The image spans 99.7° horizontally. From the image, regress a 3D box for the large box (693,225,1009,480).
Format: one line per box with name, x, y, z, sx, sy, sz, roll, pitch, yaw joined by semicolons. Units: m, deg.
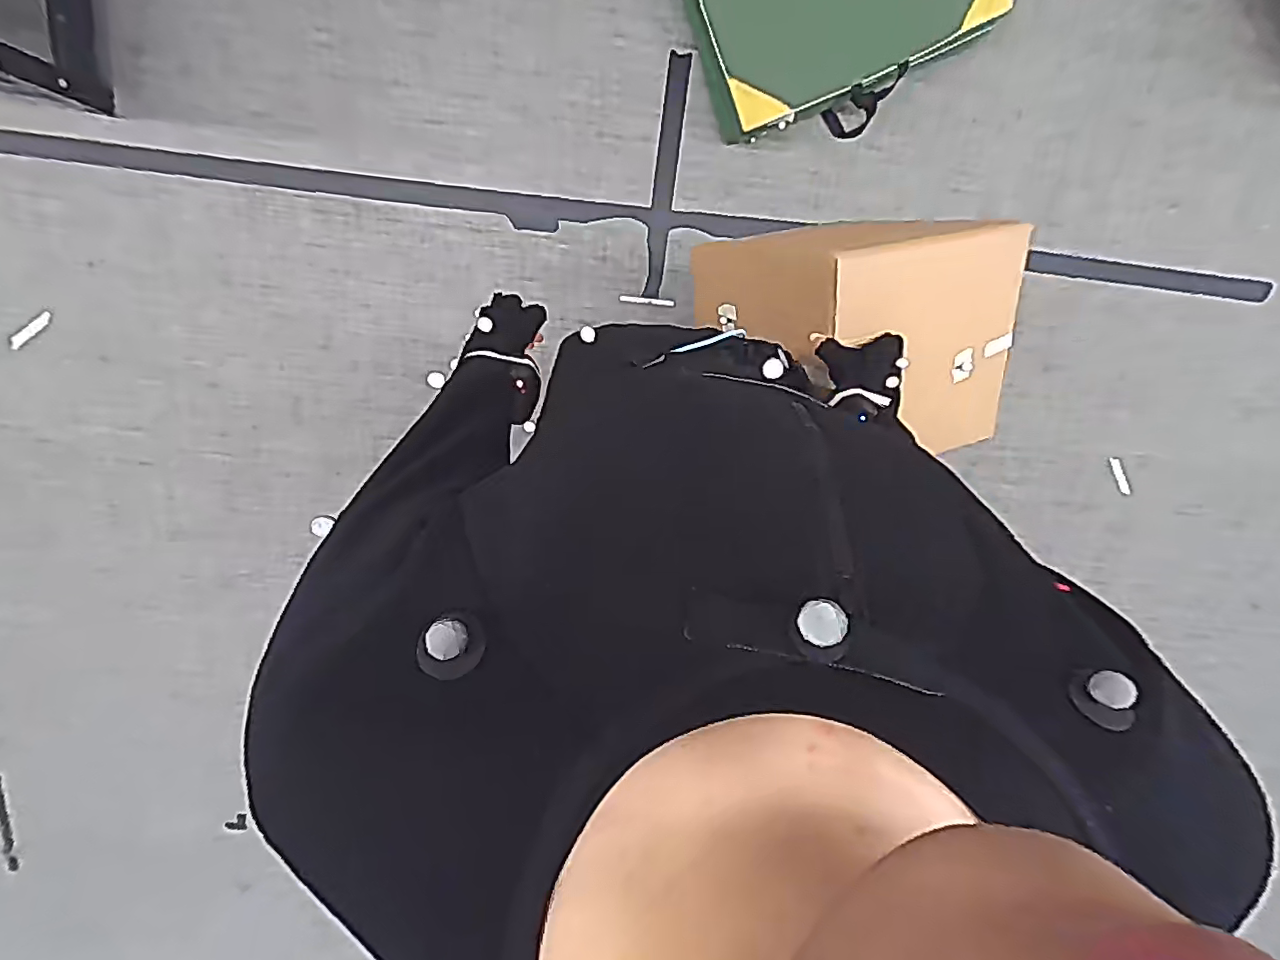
large box;0.322;-0.245;0.929;0.320;0.408;0.320;-14;118;-14
